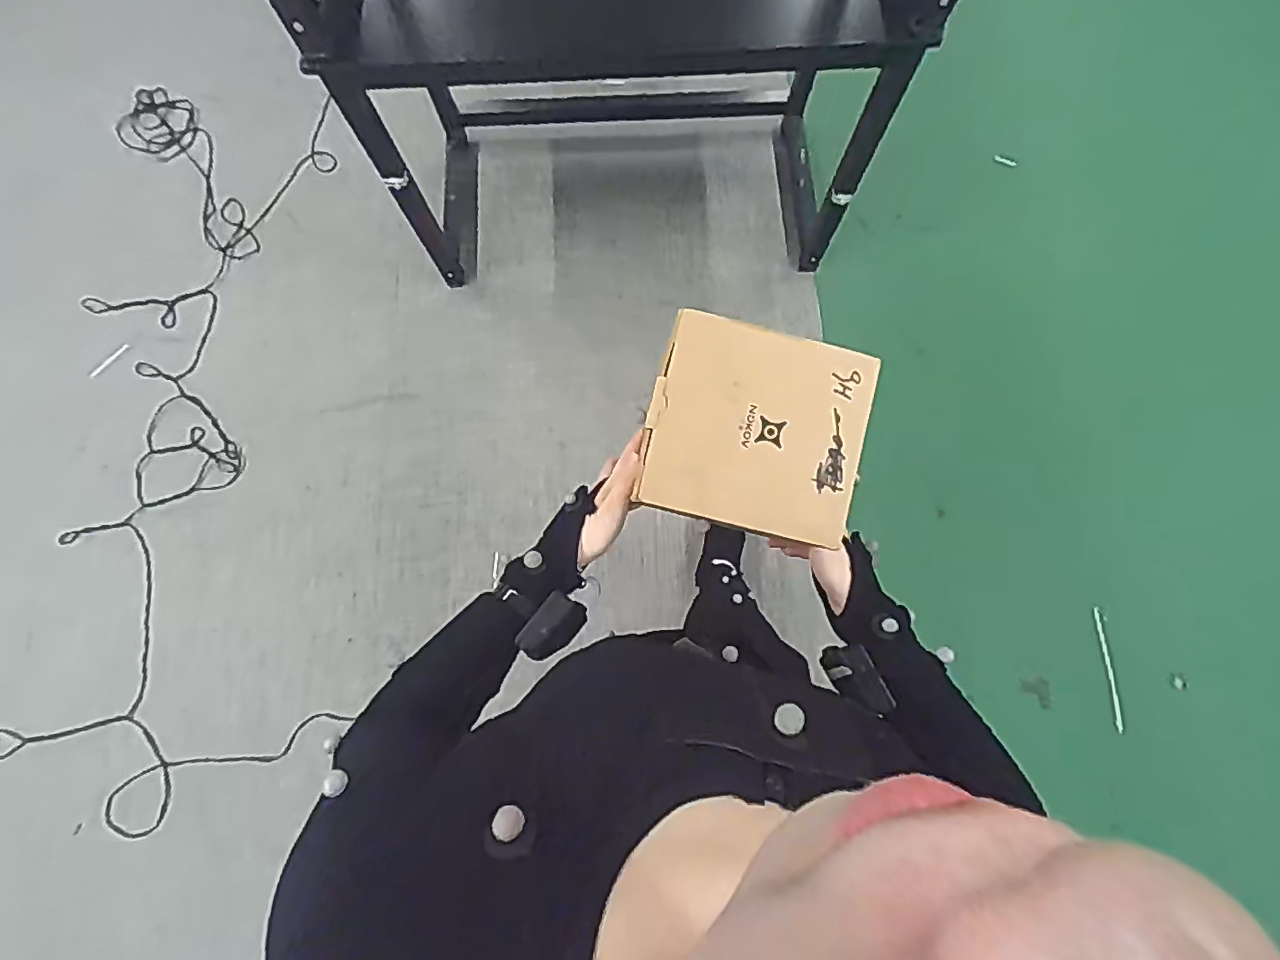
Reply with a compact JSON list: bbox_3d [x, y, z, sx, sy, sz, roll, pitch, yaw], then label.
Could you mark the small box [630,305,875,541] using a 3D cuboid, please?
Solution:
[{"bbox_3d":[0.091,-0.043,0.524,0.179,0.176,0.168,14,87,-2],"label":"small box"}]
